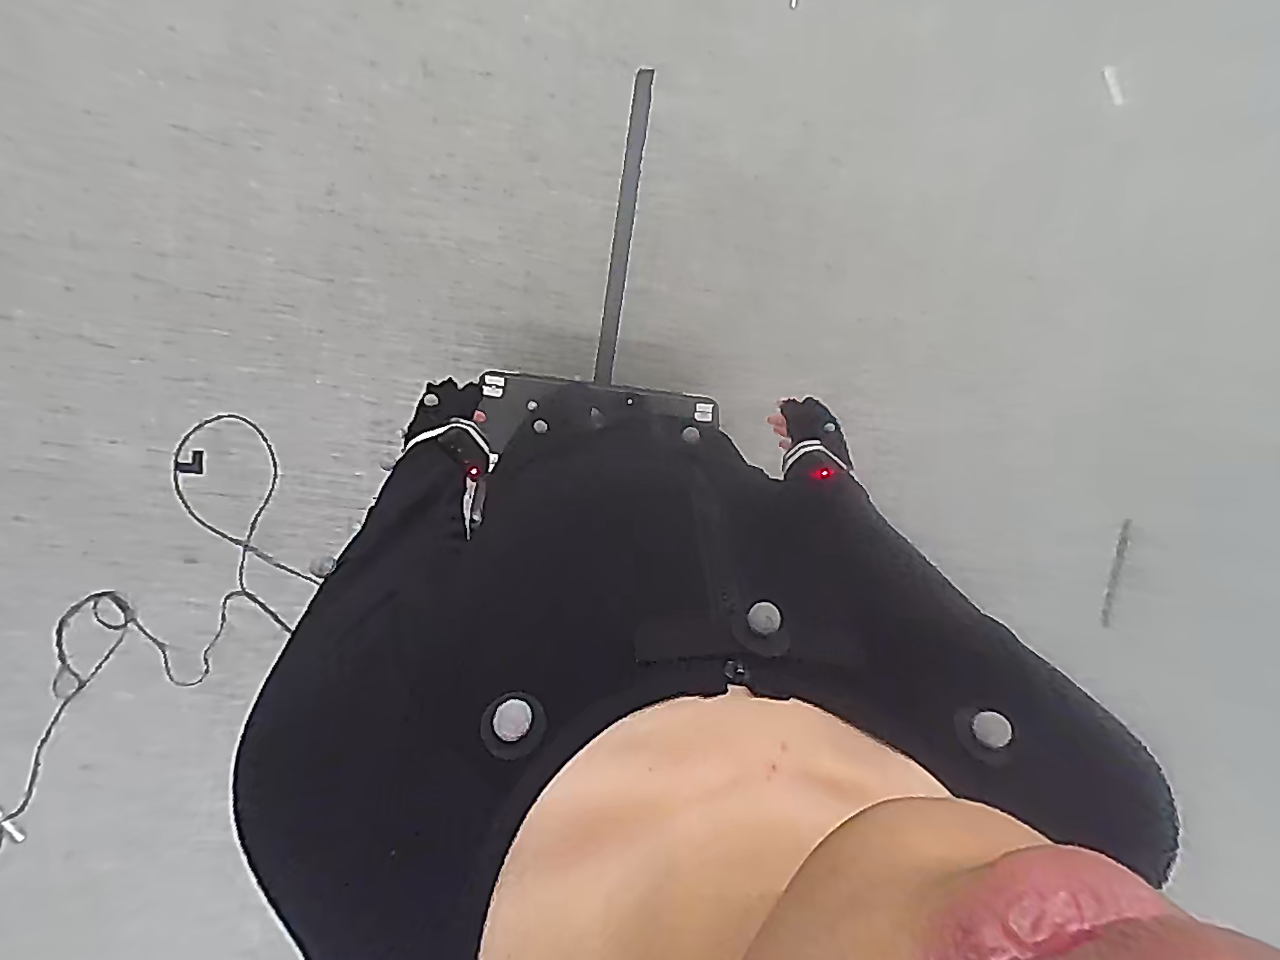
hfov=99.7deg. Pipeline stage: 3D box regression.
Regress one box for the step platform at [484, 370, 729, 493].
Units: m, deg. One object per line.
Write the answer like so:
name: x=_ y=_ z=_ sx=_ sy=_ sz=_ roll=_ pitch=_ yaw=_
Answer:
step platform: x=-0.092 y=-0.136 z=1.547 sx=0.684 sy=0.204 sz=0.286 roll=5 pitch=98 yaw=-7
